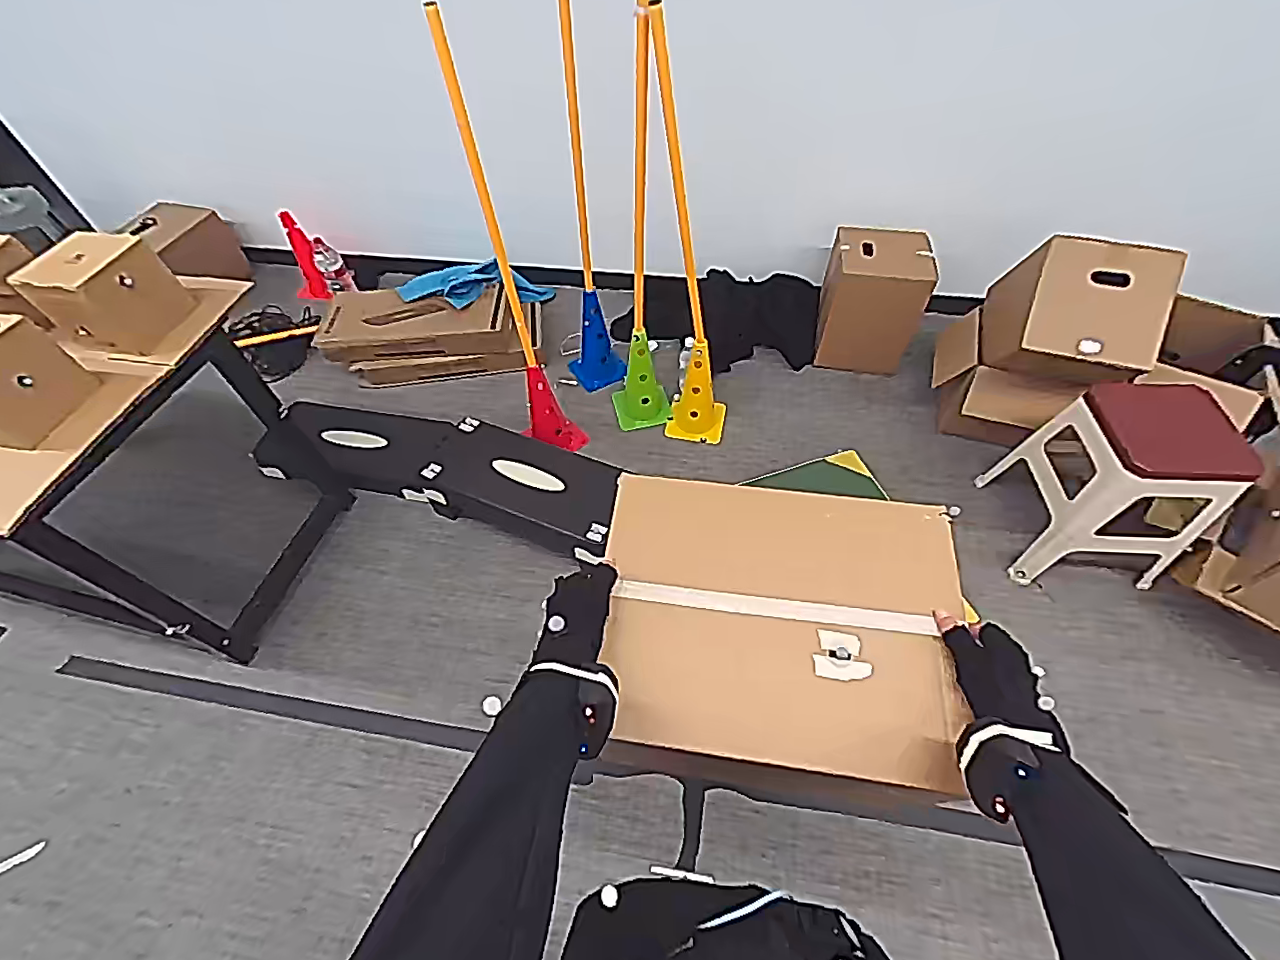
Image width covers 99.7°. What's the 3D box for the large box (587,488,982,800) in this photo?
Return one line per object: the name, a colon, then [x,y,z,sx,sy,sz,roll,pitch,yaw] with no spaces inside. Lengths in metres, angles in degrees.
large box: [0.162,0.235,0.748,0.408,0.320,0.320,6,59,6]
